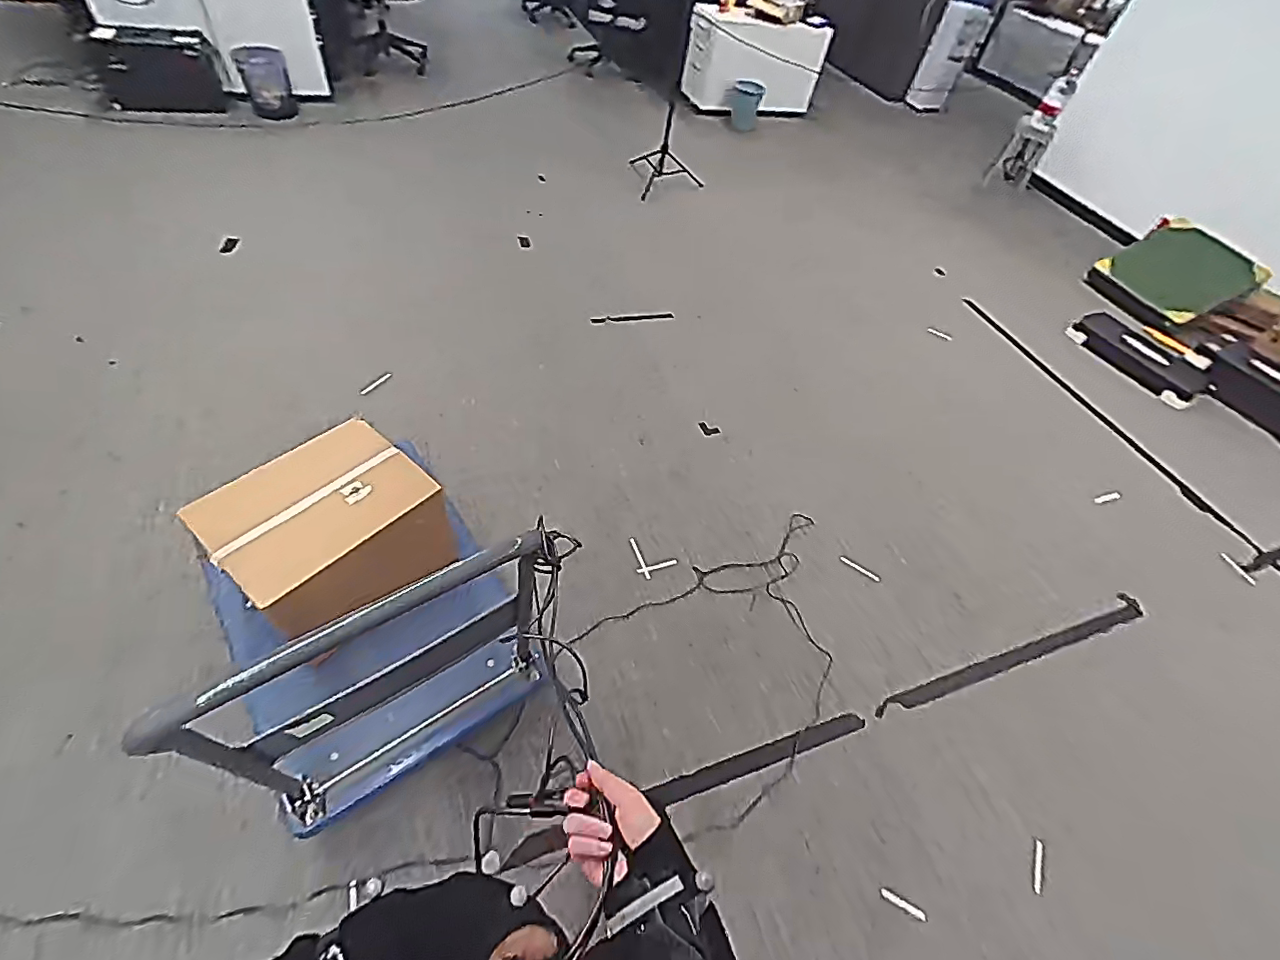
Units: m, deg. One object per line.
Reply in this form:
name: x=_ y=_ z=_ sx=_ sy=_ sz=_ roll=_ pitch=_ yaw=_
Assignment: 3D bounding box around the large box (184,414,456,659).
large box: x=-0.702 y=0.126 z=1.259 sx=0.320 sy=0.320 sz=0.408 roll=37 pitch=54 yaw=17
